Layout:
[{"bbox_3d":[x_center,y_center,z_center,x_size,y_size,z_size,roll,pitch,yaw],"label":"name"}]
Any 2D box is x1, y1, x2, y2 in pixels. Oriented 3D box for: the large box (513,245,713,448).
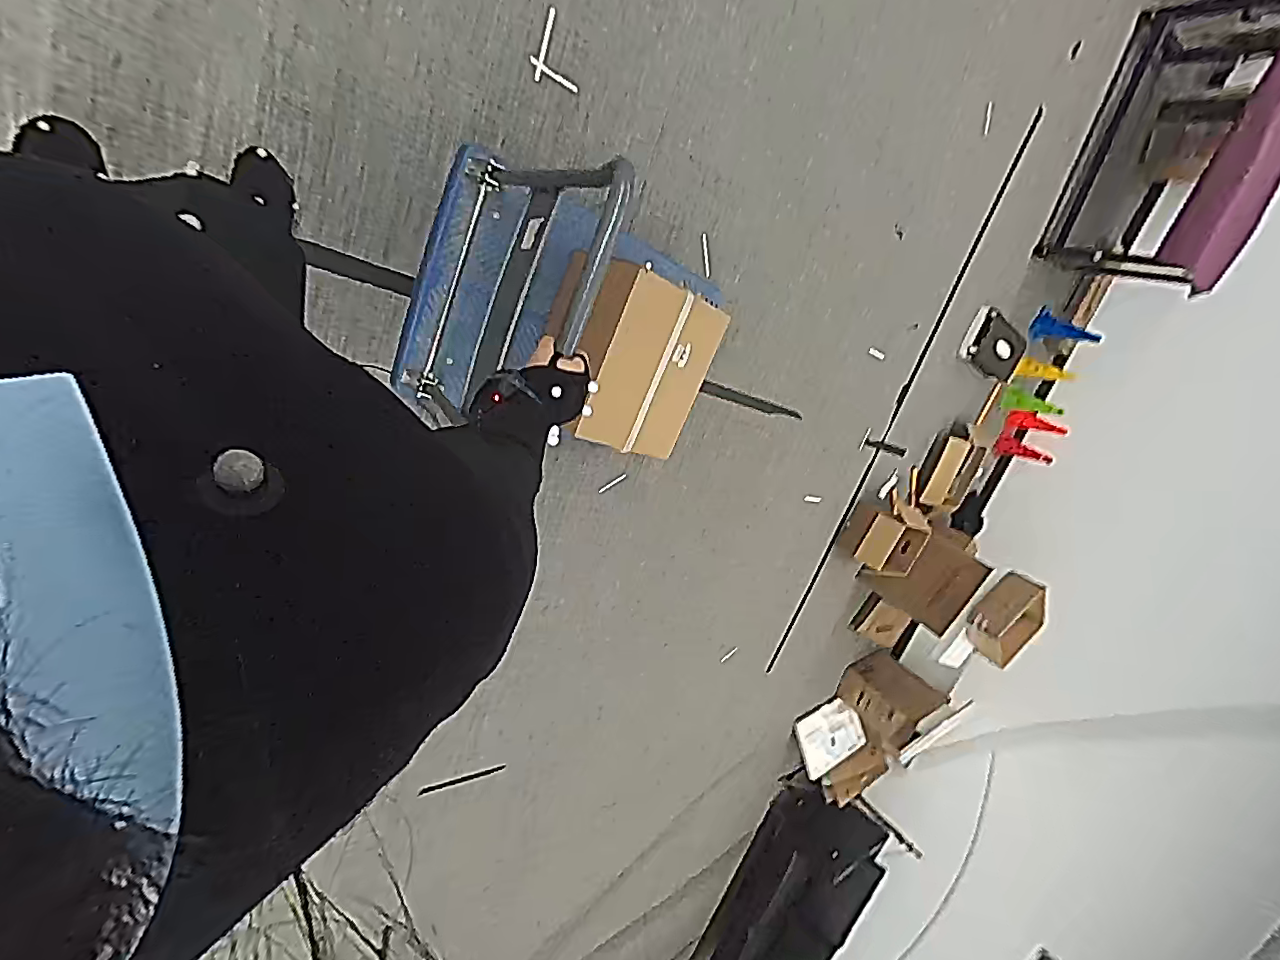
[{"bbox_3d":[-0.083,-0.341,1.410,0.320,0.320,0.408,11,106,-43],"label":"large box"}]
